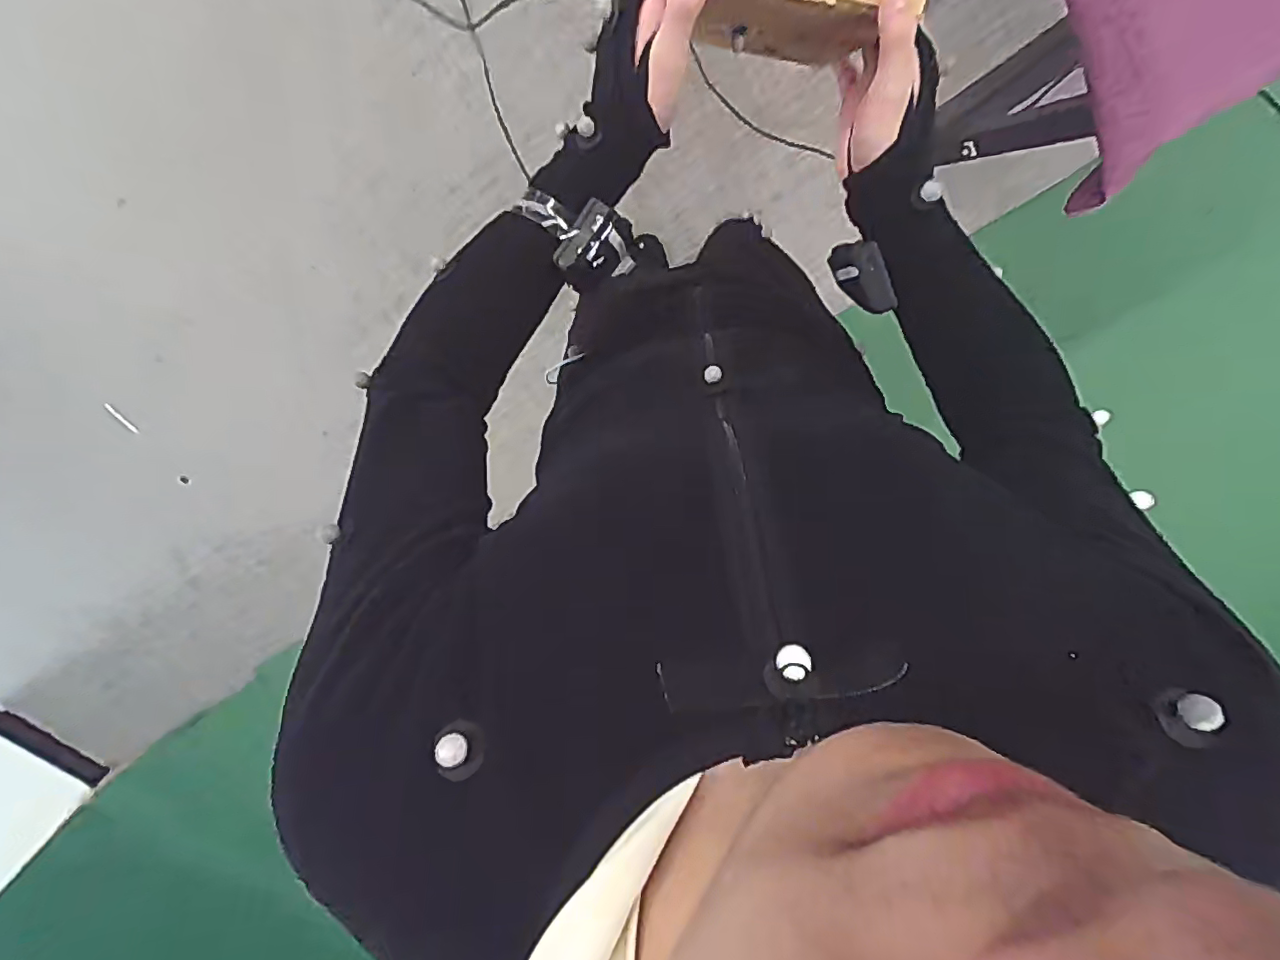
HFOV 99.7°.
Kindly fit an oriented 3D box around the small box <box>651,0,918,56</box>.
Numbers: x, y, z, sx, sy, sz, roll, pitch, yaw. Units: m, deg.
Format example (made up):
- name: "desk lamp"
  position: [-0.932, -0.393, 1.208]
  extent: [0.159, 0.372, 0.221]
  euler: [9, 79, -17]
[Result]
- name: "small box"
  position: [0.103, -0.424, 0.368]
  extent: [0.168, 0.176, 0.179]
  euler: [4, 120, -9]
